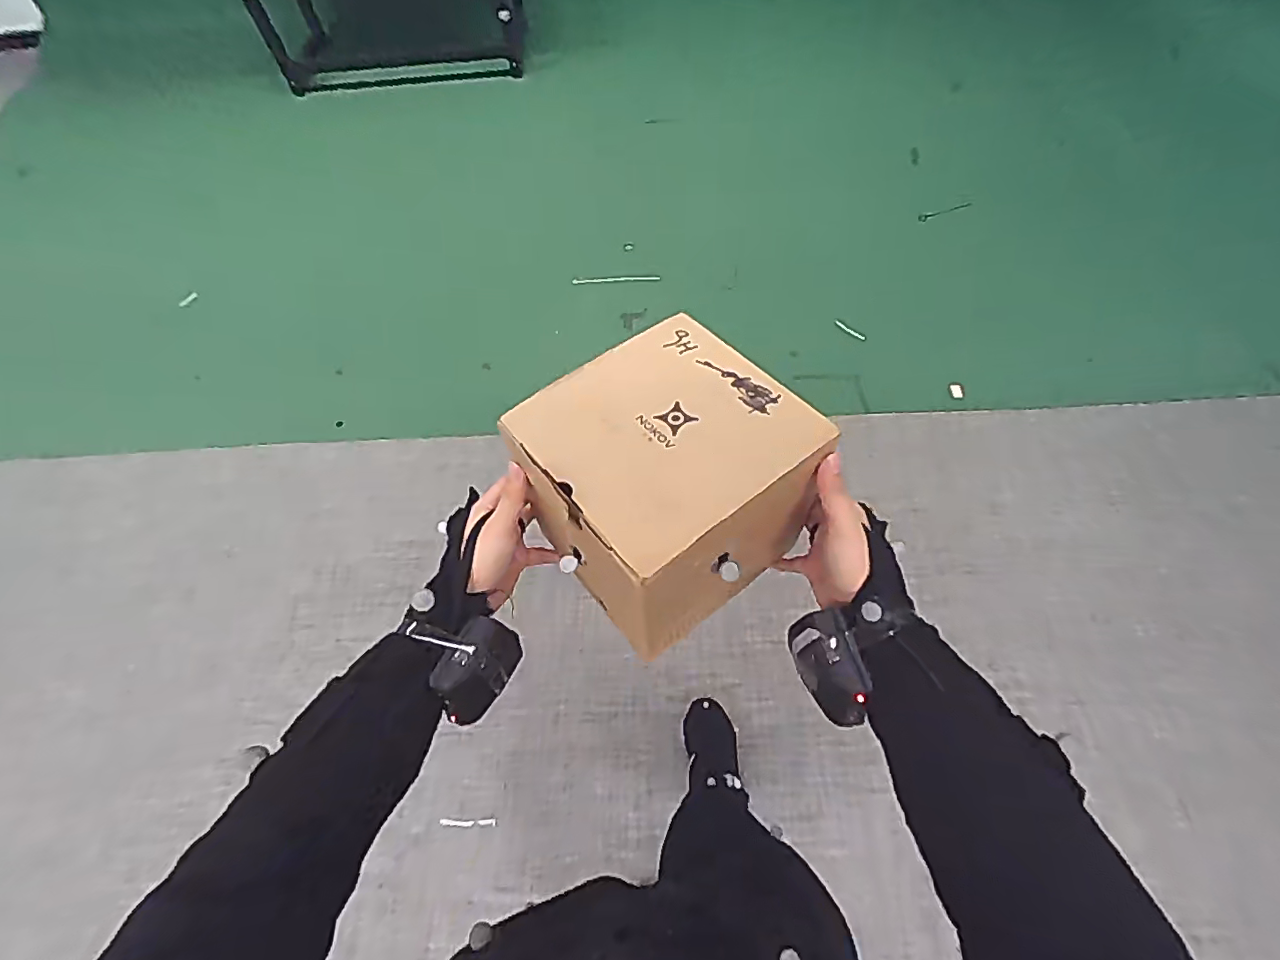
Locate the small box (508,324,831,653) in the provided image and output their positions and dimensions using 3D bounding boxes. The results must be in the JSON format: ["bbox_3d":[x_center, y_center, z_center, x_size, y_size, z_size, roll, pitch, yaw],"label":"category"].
[{"bbox_3d":[0.023,0.013,0.448,0.179,0.176,0.168,-35,61,-19],"label":"small box"}]
